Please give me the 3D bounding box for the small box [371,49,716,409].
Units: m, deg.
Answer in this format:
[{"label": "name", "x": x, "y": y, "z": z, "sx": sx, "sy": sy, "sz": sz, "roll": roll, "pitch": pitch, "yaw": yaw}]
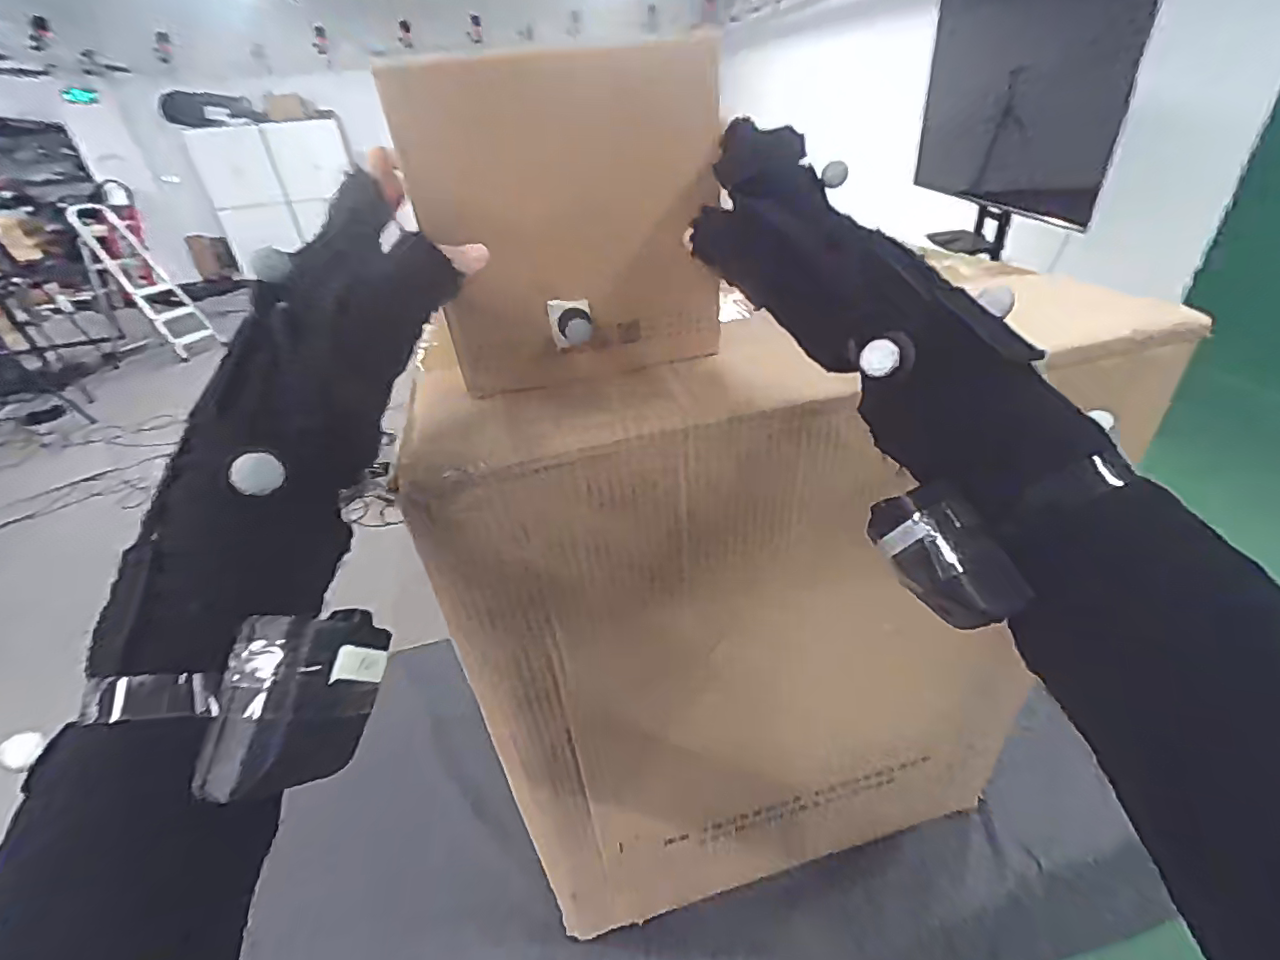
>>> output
[{"label": "small box", "x": -0.057, "y": -0.170, "z": 0.367, "sx": 0.168, "sy": 0.176, "sz": 0.179, "roll": -16, "pitch": 37, "yaw": -9}]
